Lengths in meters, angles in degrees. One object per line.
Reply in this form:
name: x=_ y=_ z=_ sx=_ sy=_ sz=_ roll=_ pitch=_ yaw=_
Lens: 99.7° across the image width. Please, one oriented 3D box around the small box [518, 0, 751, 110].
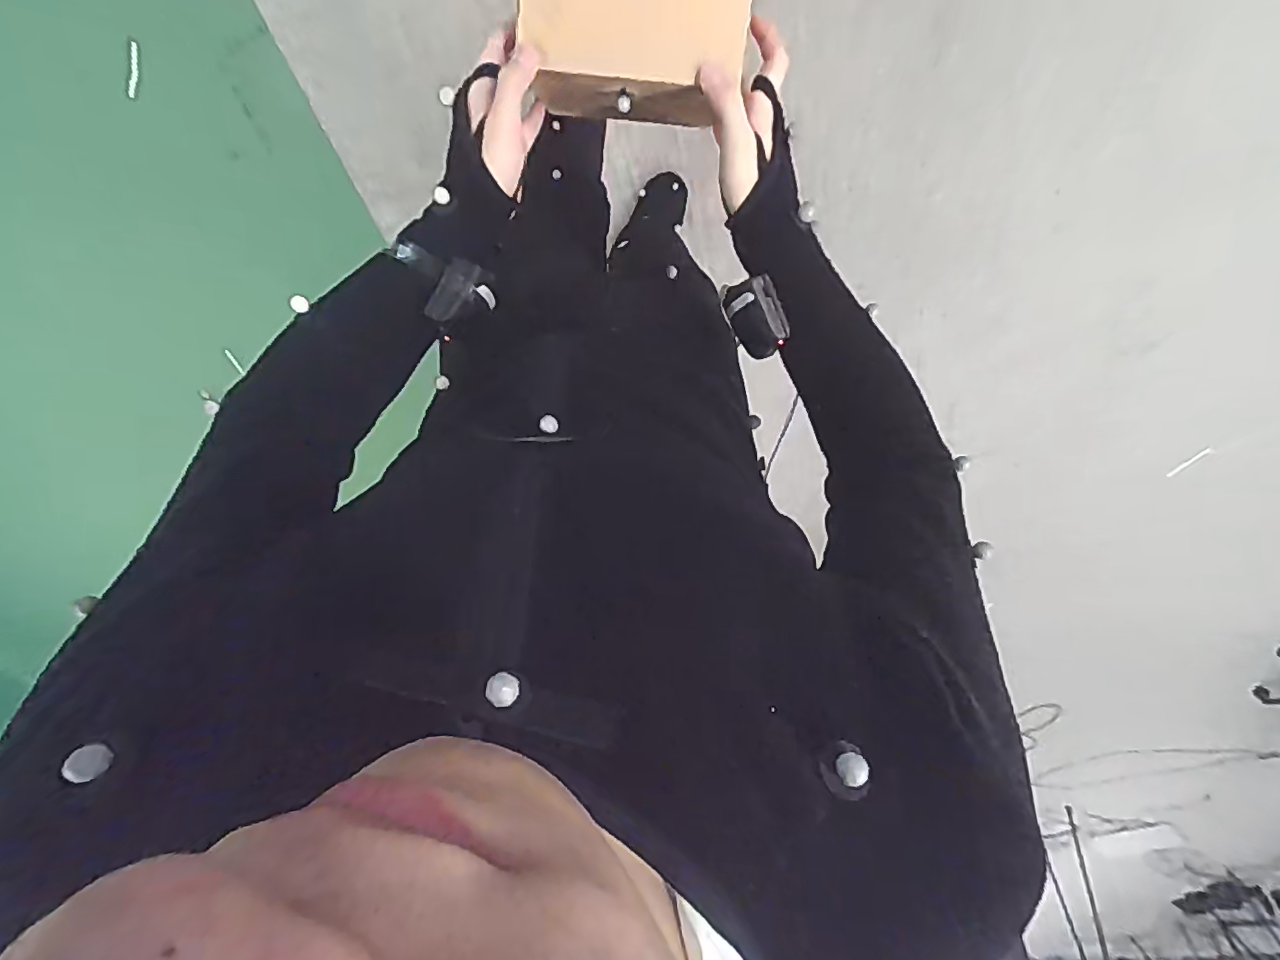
small box: x=0.003 y=-0.432 z=0.456 sx=0.179 sy=0.176 sz=0.168 roll=5 pitch=115 yaw=-2
